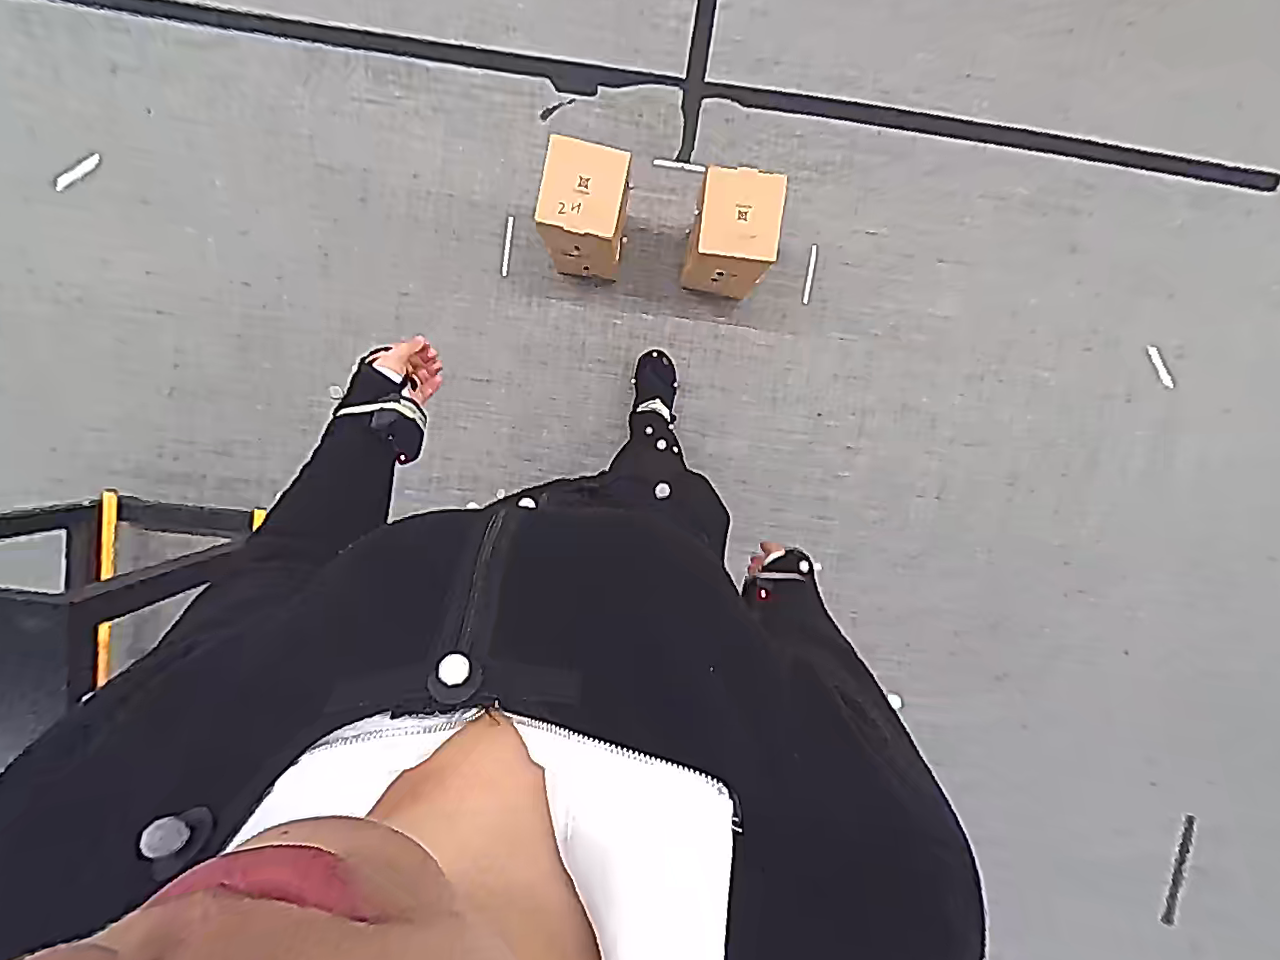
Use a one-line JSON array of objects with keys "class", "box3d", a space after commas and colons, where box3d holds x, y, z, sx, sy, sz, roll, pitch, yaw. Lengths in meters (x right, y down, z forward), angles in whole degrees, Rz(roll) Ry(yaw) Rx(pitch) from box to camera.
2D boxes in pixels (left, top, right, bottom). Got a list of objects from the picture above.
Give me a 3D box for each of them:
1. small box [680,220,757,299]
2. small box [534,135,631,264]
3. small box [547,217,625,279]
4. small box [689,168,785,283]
[{"class": "small box", "box3d": [0.204, -0.565, 1.351, 0.179, 0.176, 0.168, 11, 96, -4]}, {"class": "small box", "box3d": [-0.120, -0.595, 1.168, 0.168, 0.176, 0.179, 13, 96, -3]}, {"class": "small box", "box3d": [-0.128, -0.609, 1.333, 0.168, 0.176, 0.179, 7, 96, -2]}, {"class": "small box", "box3d": [0.205, -0.550, 1.190, 0.168, 0.176, 0.179, 6, 97, -1]}]
